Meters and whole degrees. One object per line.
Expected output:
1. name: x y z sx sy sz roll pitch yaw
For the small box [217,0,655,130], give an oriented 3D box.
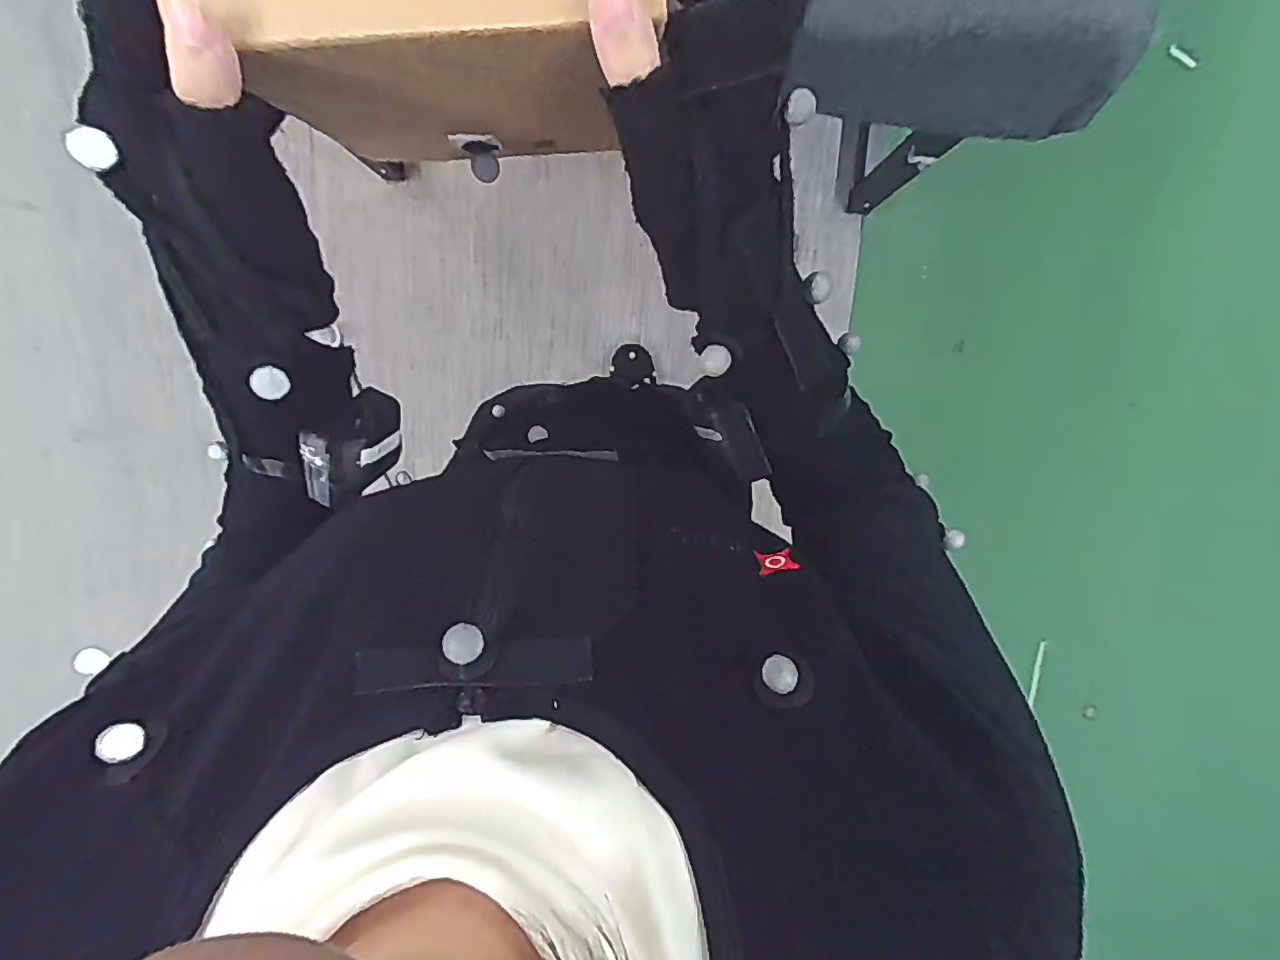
1. small box: -0.082 -0.263 0.210 0.168 0.176 0.179 -4 109 -1
